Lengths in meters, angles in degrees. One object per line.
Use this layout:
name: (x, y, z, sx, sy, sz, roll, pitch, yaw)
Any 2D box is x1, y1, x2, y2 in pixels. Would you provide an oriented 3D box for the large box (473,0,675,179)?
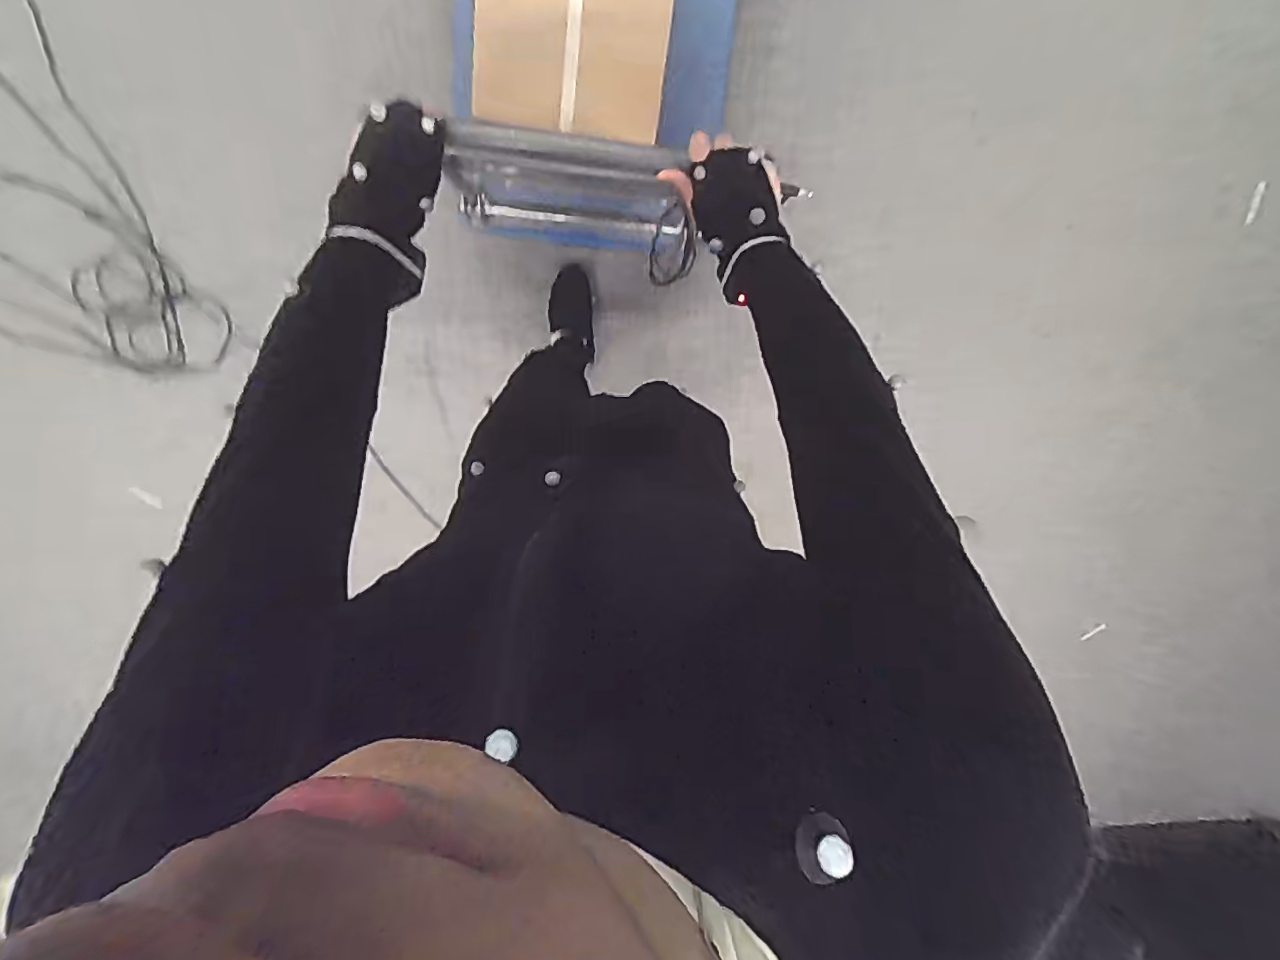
large box: (-0.108, -0.819, 0.987, 0.320, 0.320, 0.408, 6, 108, -7)
